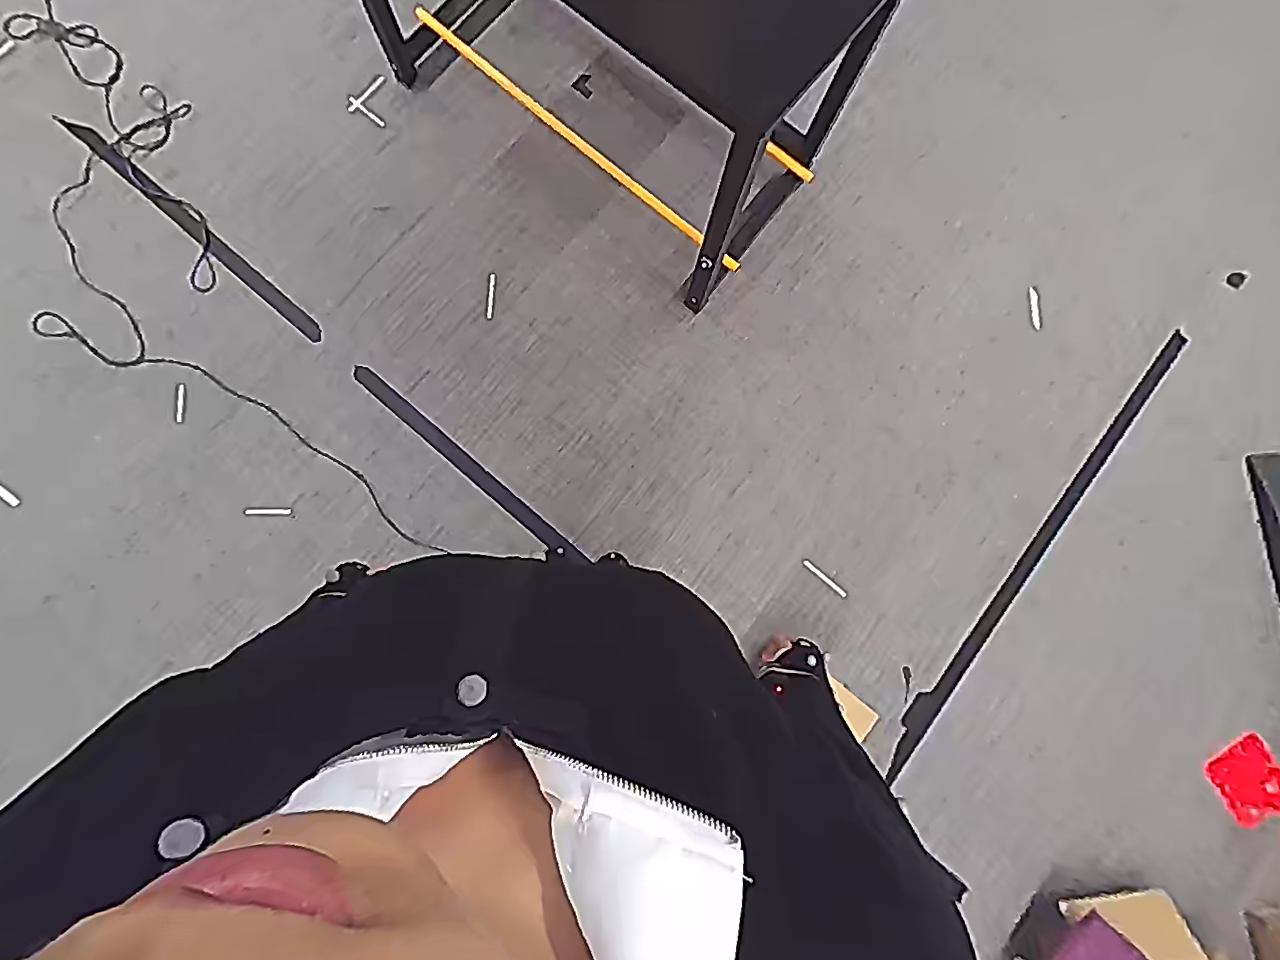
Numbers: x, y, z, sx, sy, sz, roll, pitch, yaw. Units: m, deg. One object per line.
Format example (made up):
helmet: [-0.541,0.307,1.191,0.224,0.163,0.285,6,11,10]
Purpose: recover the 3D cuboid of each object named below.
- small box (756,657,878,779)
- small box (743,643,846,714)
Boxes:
small box: [0.397,0.533,1.241,0.179,0.176,0.168,40,82,3]
small box: [0.391,0.550,1.405,0.168,0.176,0.179,36,83,2]
